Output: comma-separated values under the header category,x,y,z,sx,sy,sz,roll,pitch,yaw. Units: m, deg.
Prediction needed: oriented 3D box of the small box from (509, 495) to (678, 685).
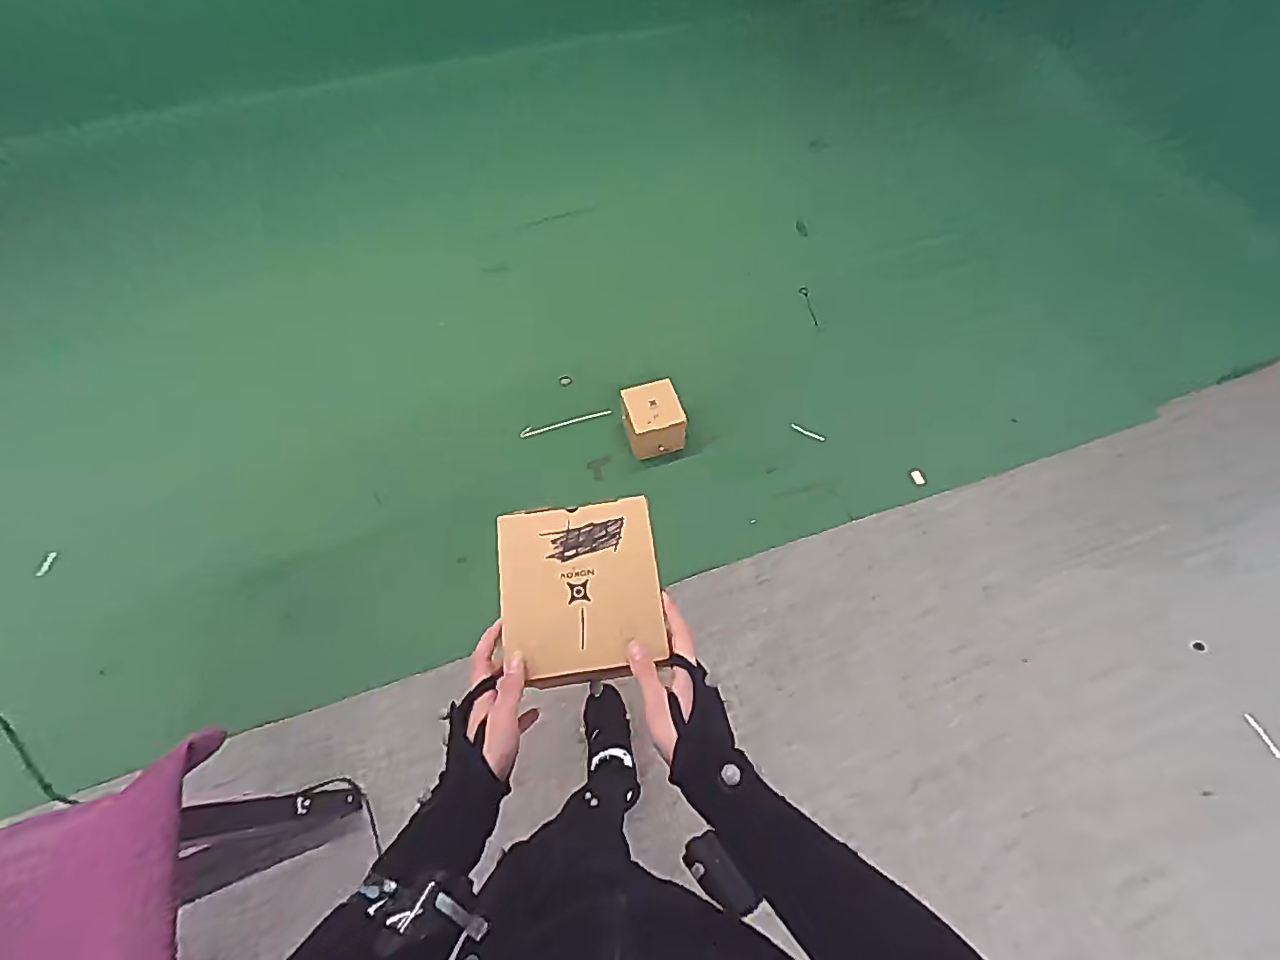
category,x,y,z,sx,sy,sz,roll,pitch,yaw
small box,-0.052,0.134,0.630,0.168,0.176,0.179,-7,67,-1

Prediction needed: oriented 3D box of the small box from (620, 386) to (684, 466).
category,x,y,z,sx,sy,sz,roll,pitch,yaw
small box,0.034,-0.175,1.760,0.168,0.176,0.179,-15,63,-9
